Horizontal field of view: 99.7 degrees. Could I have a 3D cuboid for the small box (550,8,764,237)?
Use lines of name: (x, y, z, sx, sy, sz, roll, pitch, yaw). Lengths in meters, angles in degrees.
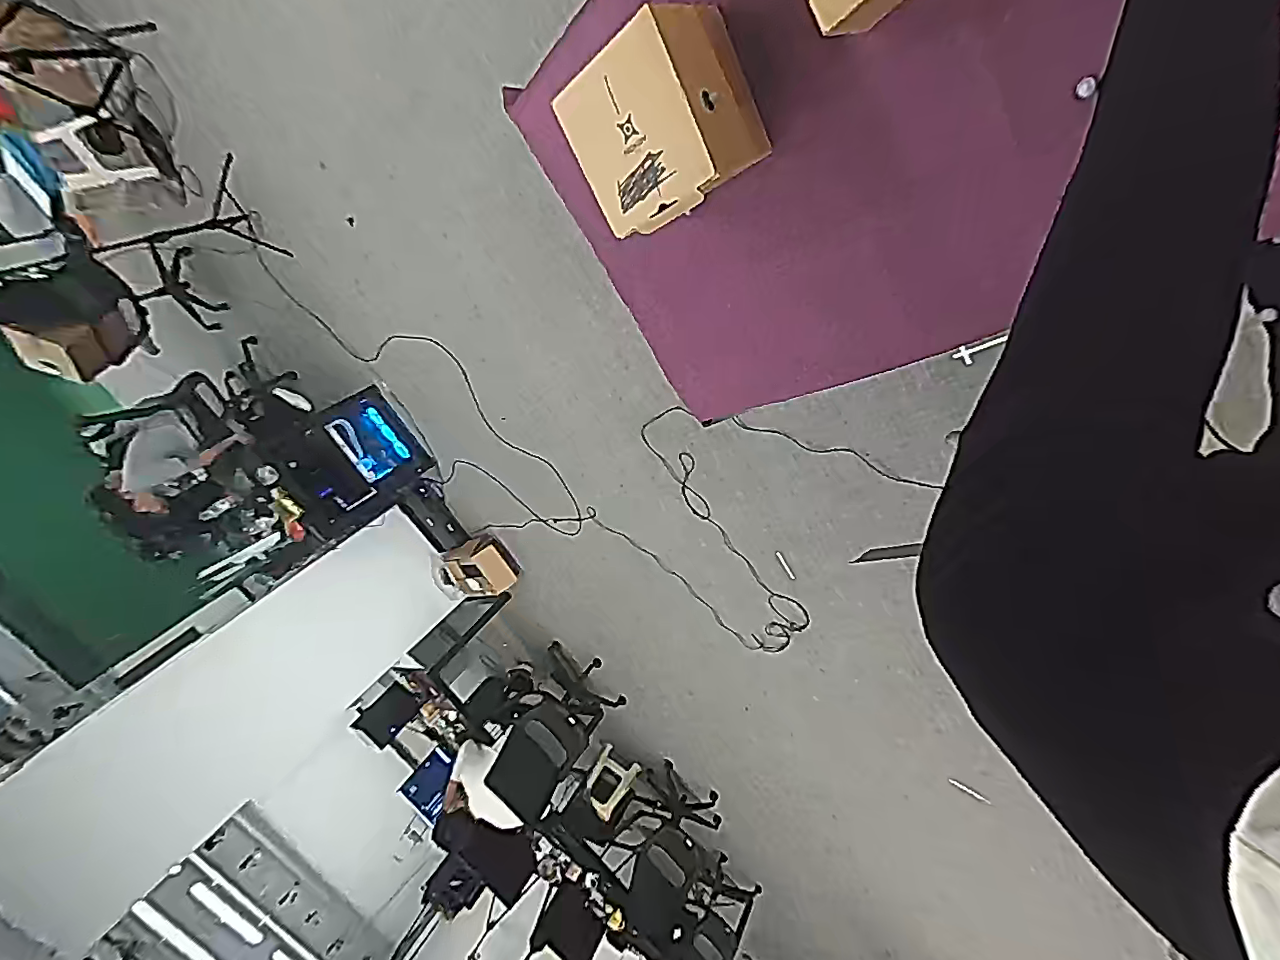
small box: (0.030, -0.442, 0.675, 0.168, 0.176, 0.179, -11, 117, 43)
